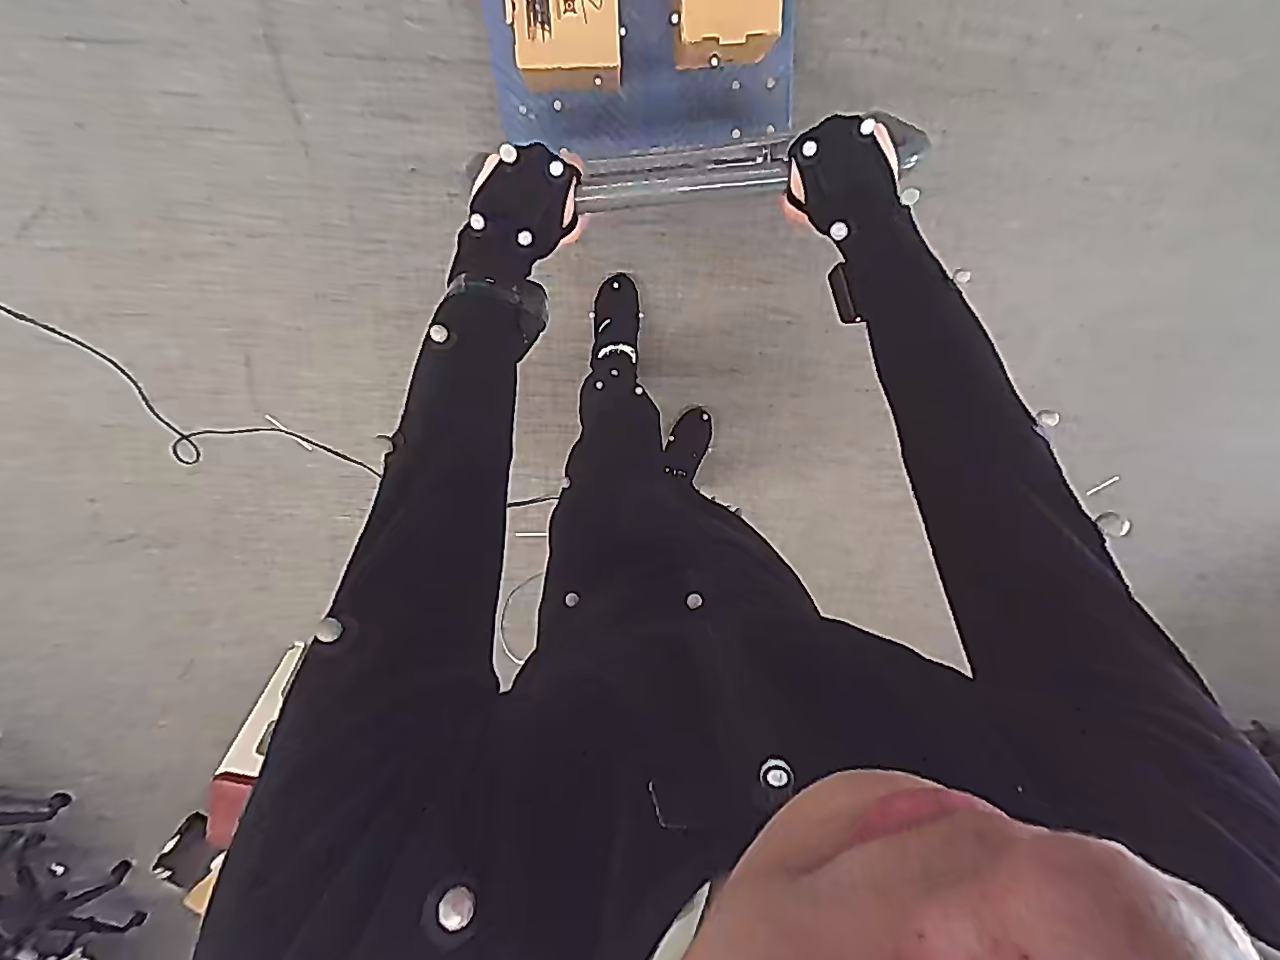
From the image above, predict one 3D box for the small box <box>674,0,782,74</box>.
[{"bbox_3d":[0.149,-0.847,0.951,0.168,0.176,0.179,-5,115,1],"label":"small box"}]
